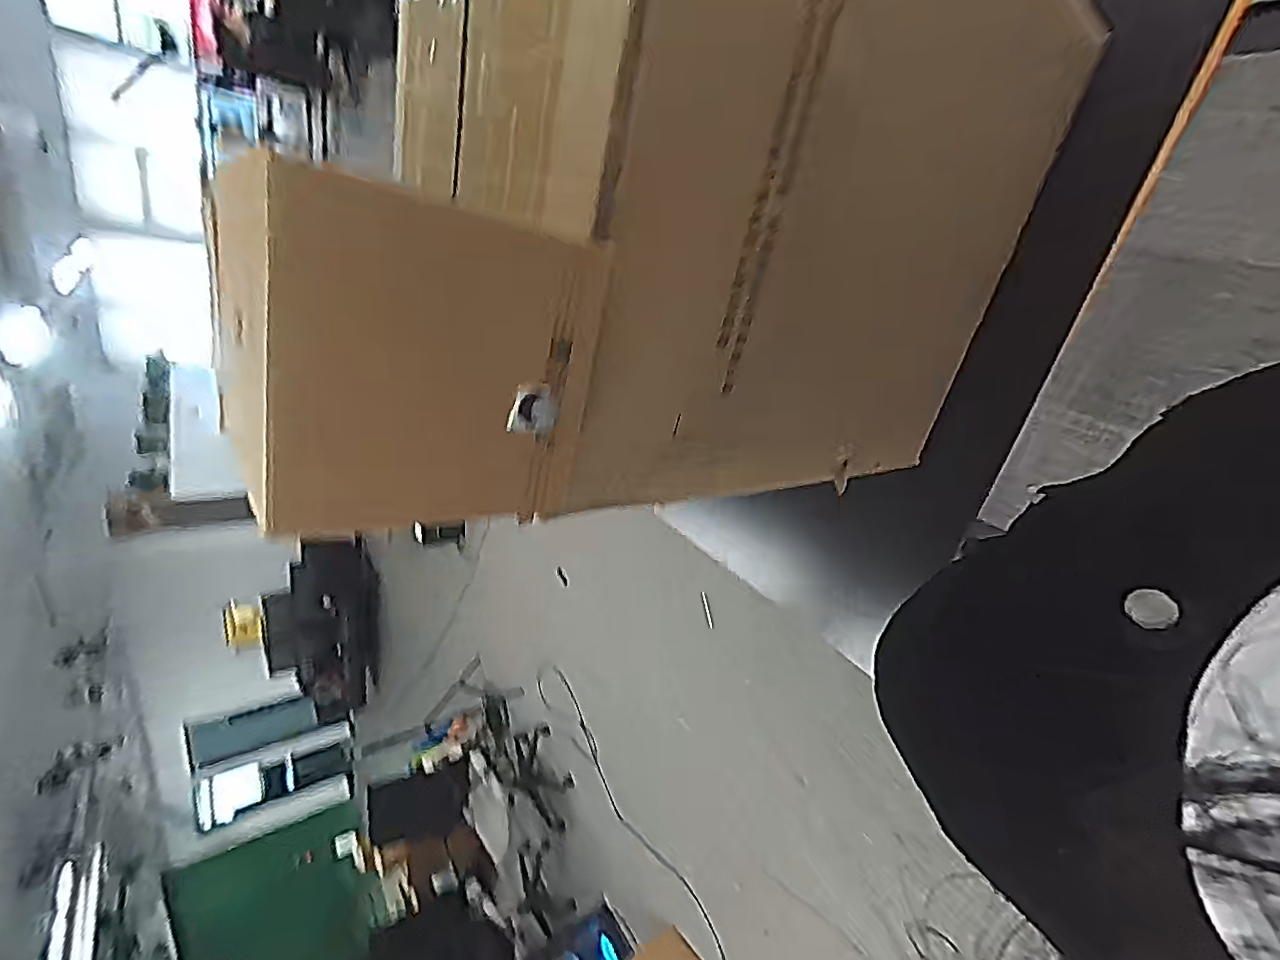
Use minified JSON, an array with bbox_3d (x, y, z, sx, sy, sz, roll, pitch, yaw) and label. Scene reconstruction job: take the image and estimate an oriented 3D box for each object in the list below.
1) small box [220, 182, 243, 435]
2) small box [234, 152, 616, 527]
[{"bbox_3d":[-0.261,-0.146,0.481,0.179,0.176,0.168,39,124,43],"label":"small box"},{"bbox_3d":[-0.142,-0.085,0.343,0.179,0.176,0.168,28,114,43],"label":"small box"}]
